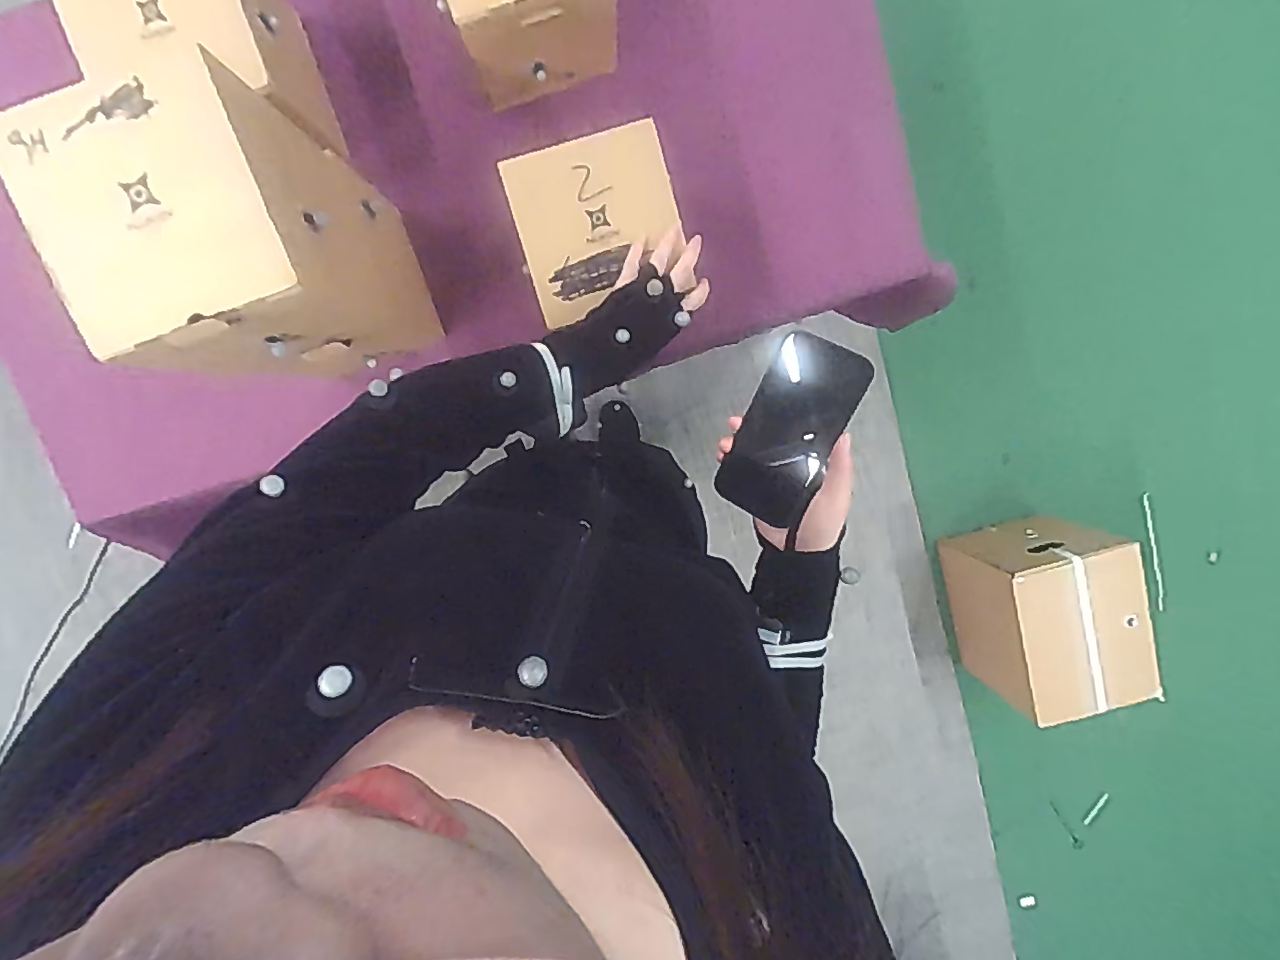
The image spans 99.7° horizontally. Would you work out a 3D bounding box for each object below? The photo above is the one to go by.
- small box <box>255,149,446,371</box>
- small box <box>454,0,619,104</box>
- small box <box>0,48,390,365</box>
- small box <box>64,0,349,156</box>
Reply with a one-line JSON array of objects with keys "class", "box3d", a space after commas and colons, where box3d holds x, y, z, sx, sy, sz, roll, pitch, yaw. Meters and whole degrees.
[{"class": "small box", "box3d": [-0.354, -0.236, 0.630, 0.168, 0.176, 0.179, -19, 99, 2]}, {"class": "small box", "box3d": [-0.127, -0.563, 0.588, 0.168, 0.176, 0.179, -18, 100, 1]}, {"class": "small box", "box3d": [-0.351, -0.207, 0.468, 0.168, 0.176, 0.179, -19, 99, 1]}, {"class": "small box", "box3d": [-0.458, -0.453, 0.594, 0.168, 0.176, 0.179, -16, 99, -1]}]
